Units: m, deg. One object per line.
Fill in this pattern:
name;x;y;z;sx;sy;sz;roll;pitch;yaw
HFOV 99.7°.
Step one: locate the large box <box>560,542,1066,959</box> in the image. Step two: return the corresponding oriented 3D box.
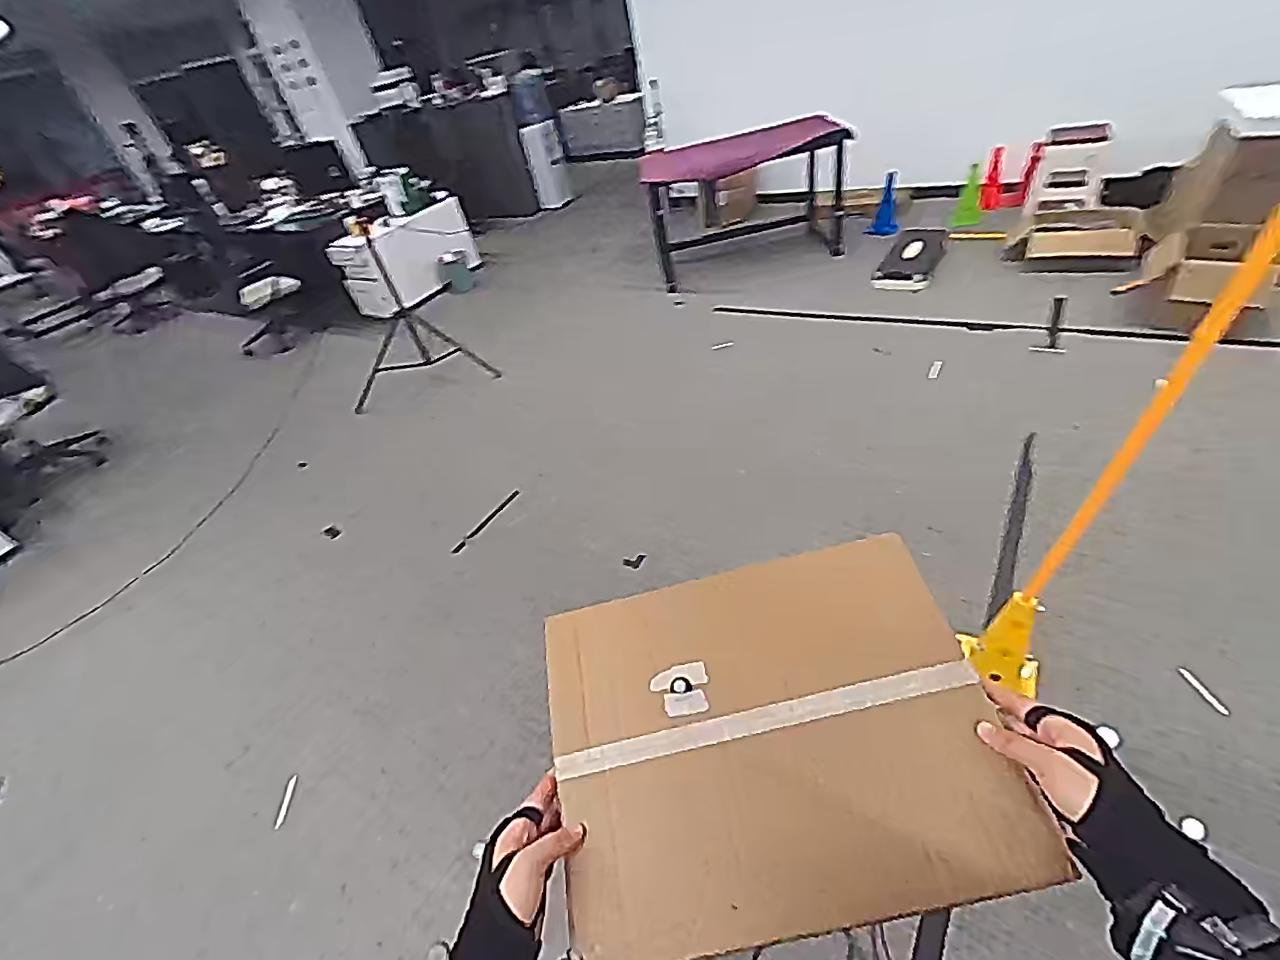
large box;0.154;0.321;0.644;0.408;0.320;0.320;-15;52;4
